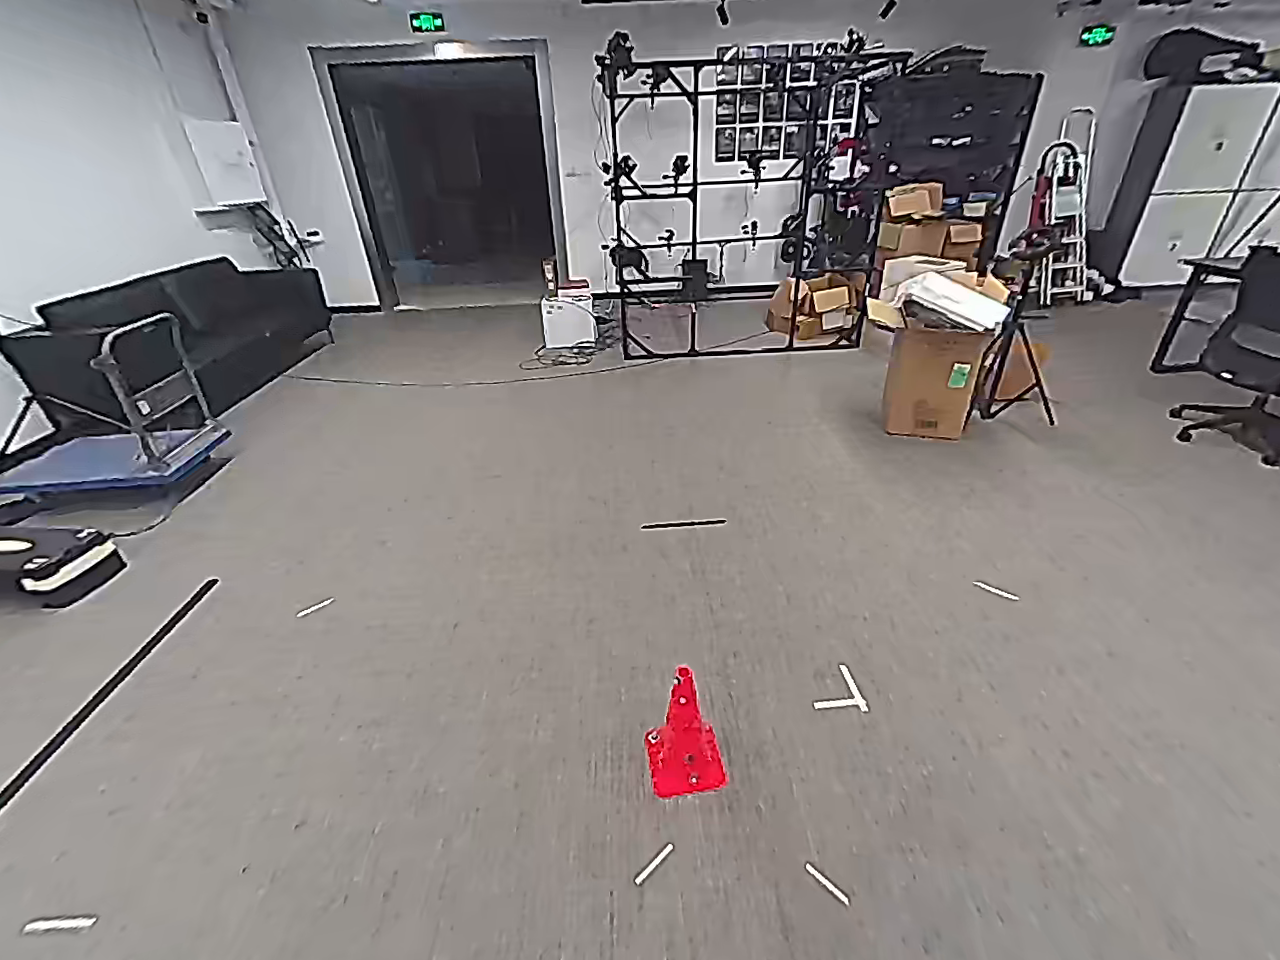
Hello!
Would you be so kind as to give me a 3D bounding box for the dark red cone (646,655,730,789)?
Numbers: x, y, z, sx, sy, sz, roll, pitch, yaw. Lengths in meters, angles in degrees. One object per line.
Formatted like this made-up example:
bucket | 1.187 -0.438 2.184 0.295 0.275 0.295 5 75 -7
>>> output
dark red cone | 0.120 0.595 1.388 0.202 0.394 0.201 -7 32 -7
